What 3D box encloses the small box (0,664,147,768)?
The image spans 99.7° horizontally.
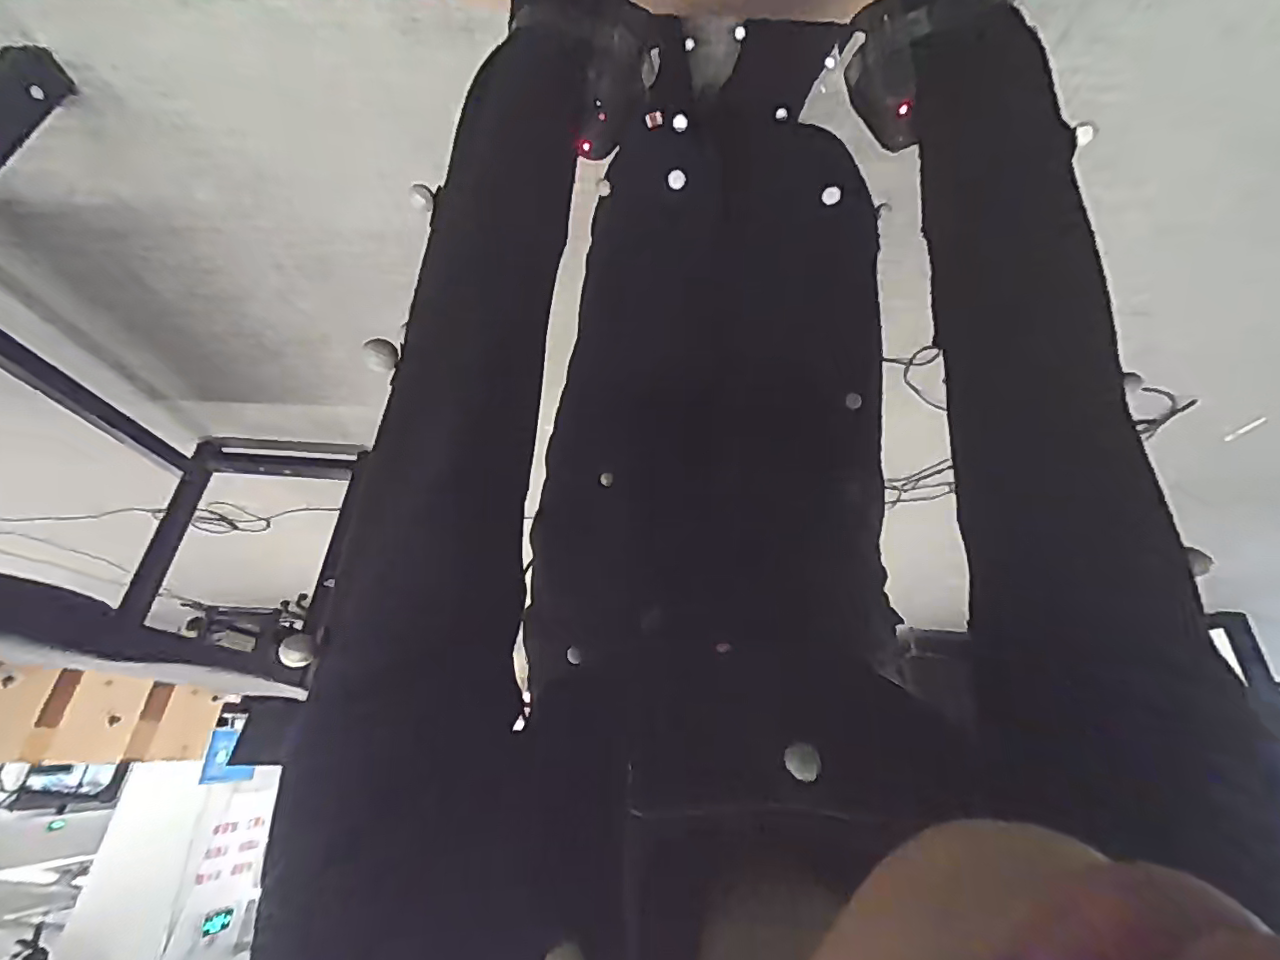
[{"bbox_3d":[-1.119,0.456,1.049,0.179,0.176,0.168,4,153,2],"label":"small box"}]

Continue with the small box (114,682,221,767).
[{"bbox_3d":[-1.126,0.566,1.258,0.179,0.176,0.168,3,152,5],"label":"small box"}]
